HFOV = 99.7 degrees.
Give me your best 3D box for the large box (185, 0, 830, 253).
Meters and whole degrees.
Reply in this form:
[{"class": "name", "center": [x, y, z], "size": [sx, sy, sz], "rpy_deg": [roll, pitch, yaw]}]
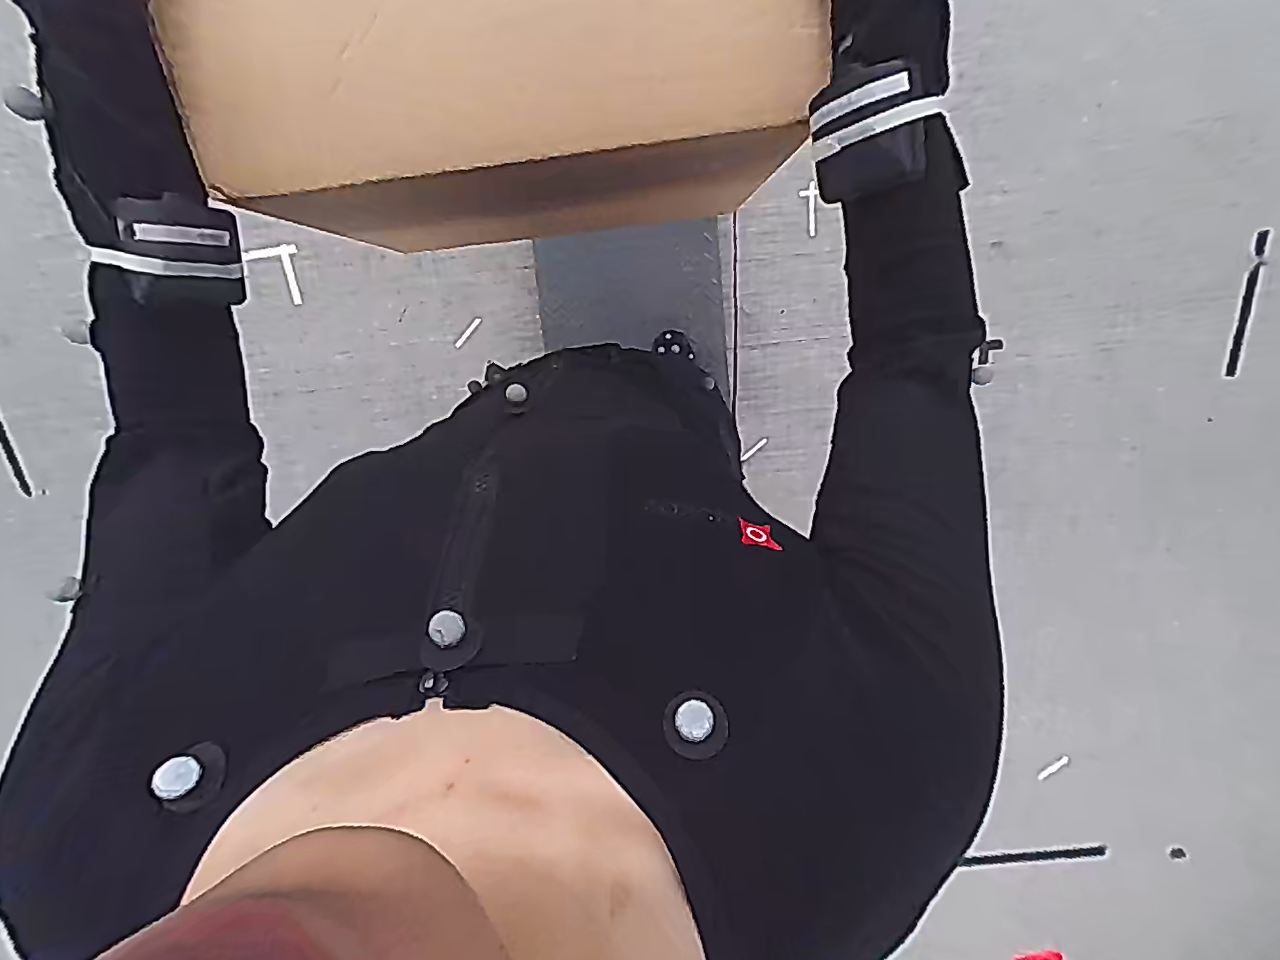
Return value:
[{"class": "large box", "center": [-0.095, -0.403, 0.464], "size": [0.408, 0.320, 0.320], "rpy_deg": [-7, 107, 1]}]
